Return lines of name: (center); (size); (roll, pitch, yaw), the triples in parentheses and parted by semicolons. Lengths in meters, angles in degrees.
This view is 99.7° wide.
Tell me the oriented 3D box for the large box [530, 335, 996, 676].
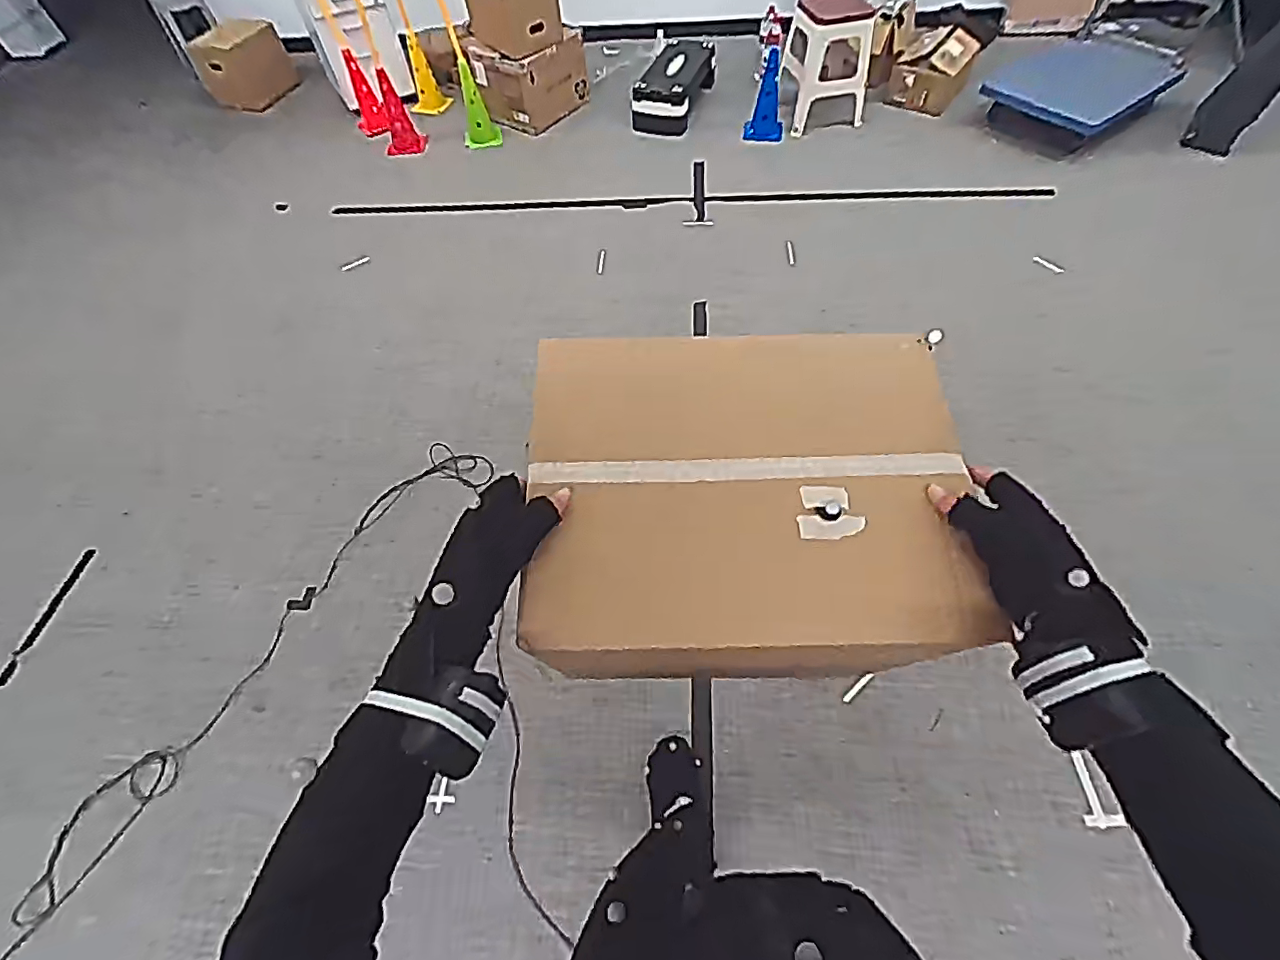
large box: (0.097, 0.051, 0.647); (0.408, 0.320, 0.320); (-1, 66, -1)
